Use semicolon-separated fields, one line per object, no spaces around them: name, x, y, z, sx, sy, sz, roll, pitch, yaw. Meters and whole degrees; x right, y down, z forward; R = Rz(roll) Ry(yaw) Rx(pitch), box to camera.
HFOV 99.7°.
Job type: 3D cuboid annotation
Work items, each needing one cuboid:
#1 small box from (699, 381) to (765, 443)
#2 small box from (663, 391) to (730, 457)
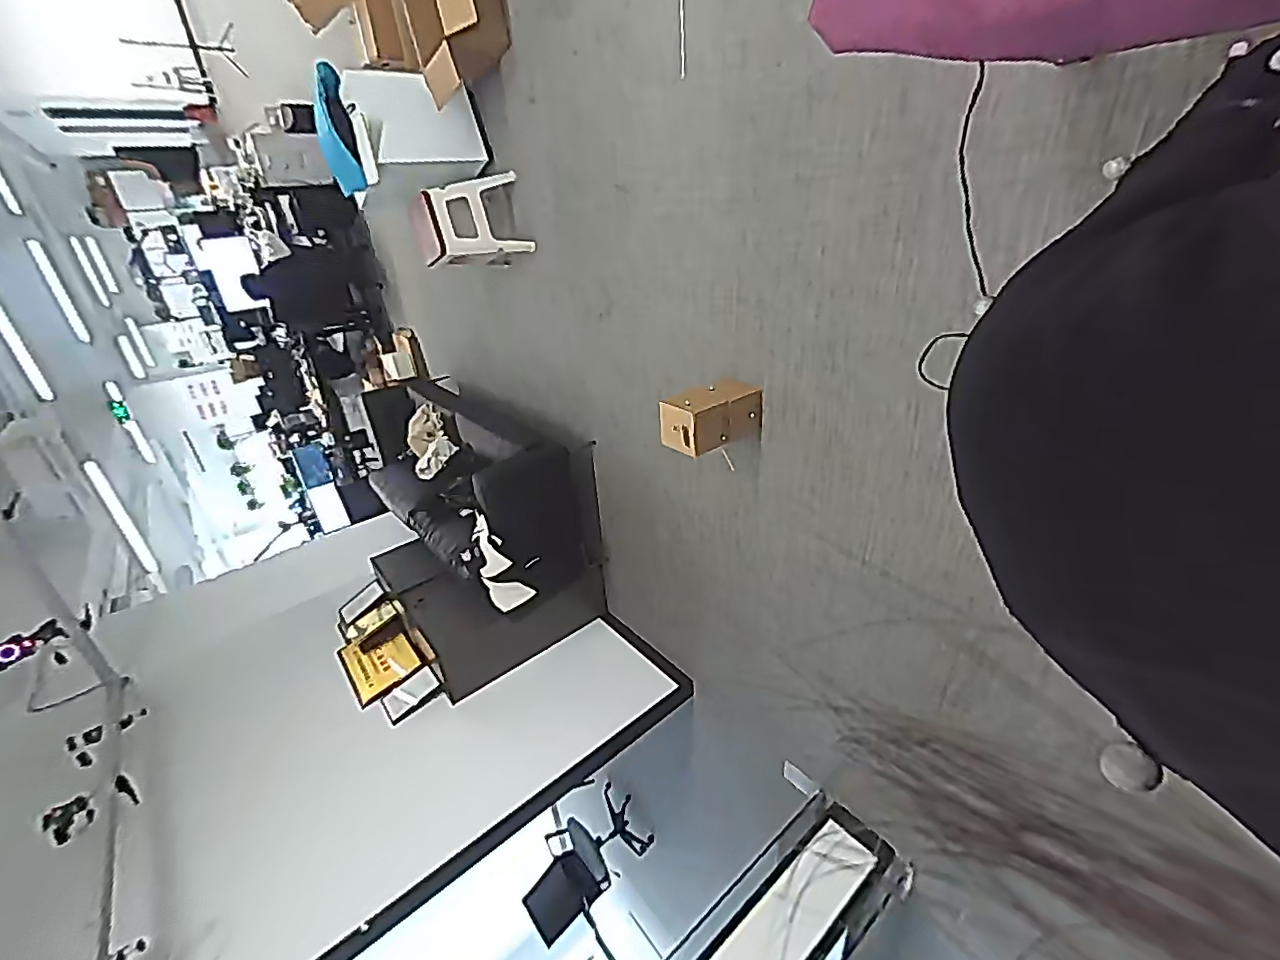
small box;0.335;-0.258;1.996;0.179;0.176;0.168;28;132;44
small box;0.204;-0.204;1.913;0.179;0.176;0.168;28;132;45
